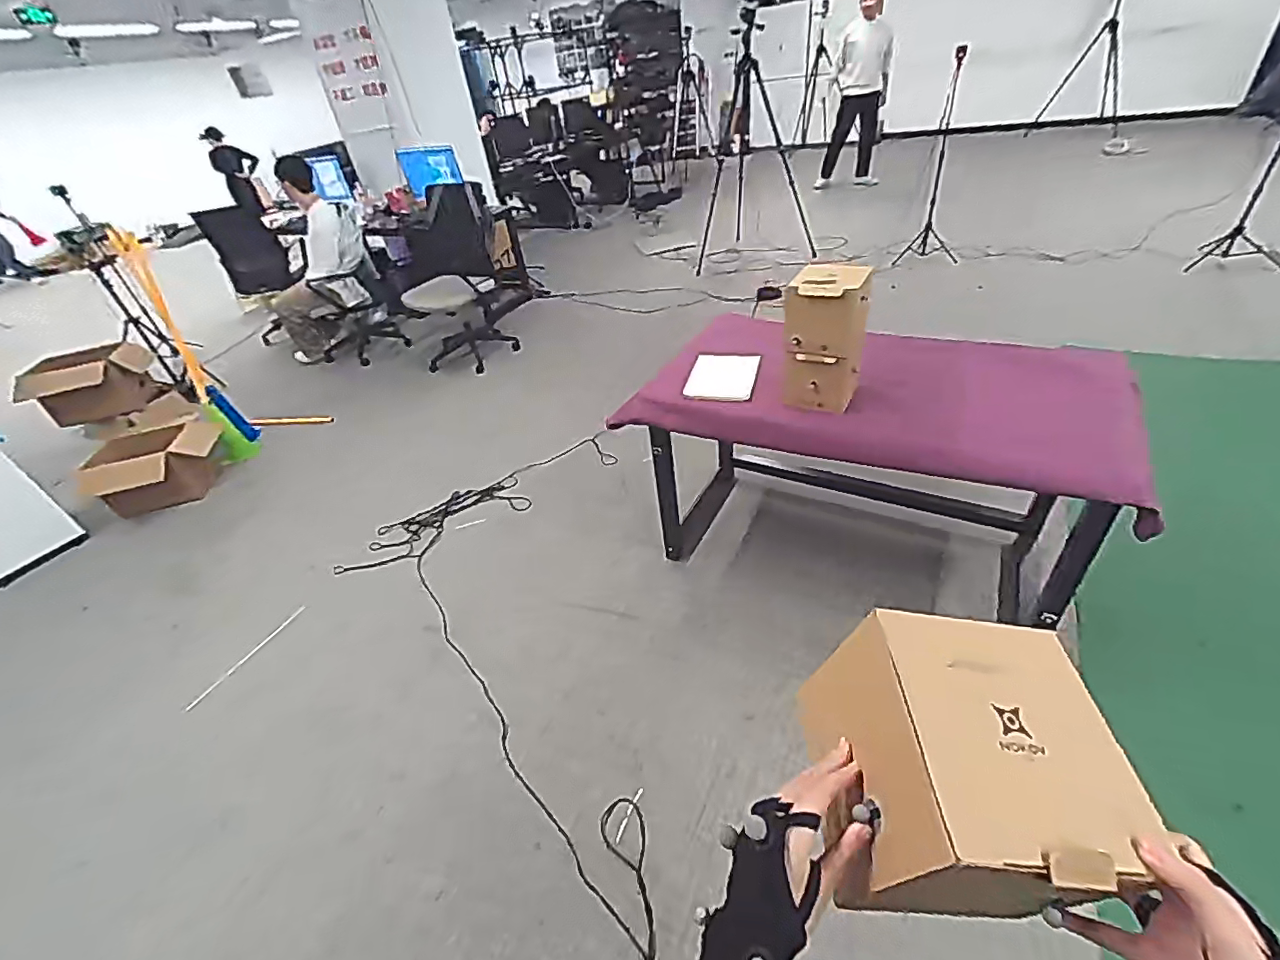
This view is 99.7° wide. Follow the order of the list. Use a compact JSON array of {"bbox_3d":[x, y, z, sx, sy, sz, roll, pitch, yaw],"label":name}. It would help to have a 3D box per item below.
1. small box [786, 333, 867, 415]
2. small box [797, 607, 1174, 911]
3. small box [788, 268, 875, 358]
[{"bbox_3d":[0.503,-0.297,1.471,0.168,0.176,0.179,16,44,27],"label":"small box"},{"bbox_3d":[0.249,0.234,0.449,0.168,0.176,0.179,10,43,-6],"label":"small box"},{"bbox_3d":[0.480,-0.423,1.366,0.168,0.176,0.179,15,42,28],"label":"small box"}]
